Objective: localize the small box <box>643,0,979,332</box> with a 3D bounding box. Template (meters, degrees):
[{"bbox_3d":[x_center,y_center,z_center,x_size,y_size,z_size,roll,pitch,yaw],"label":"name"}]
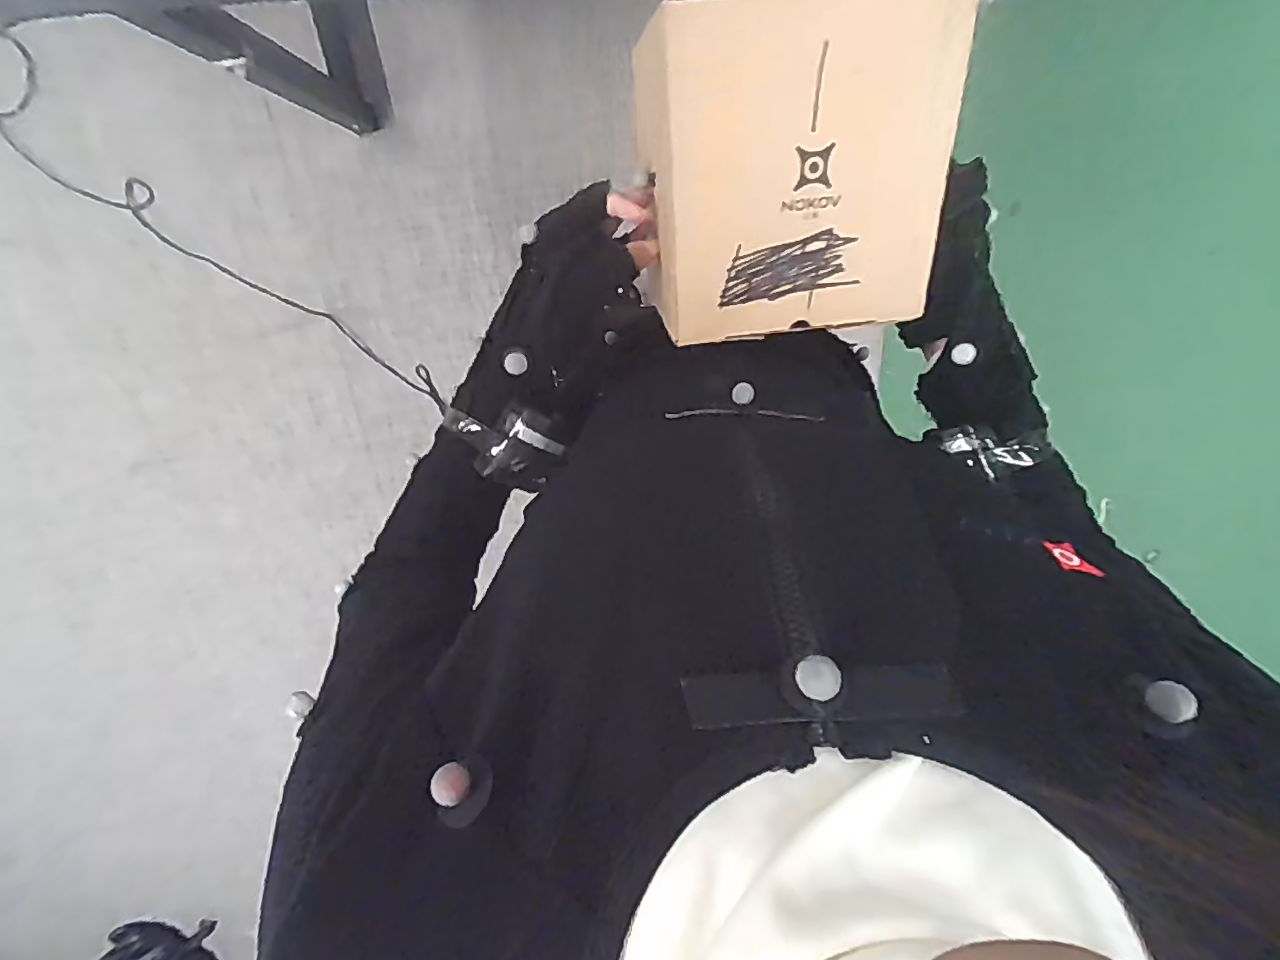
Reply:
[{"bbox_3d":[0.093,-0.220,0.389,0.168,0.176,0.179,-6,121,-4],"label":"small box"}]
